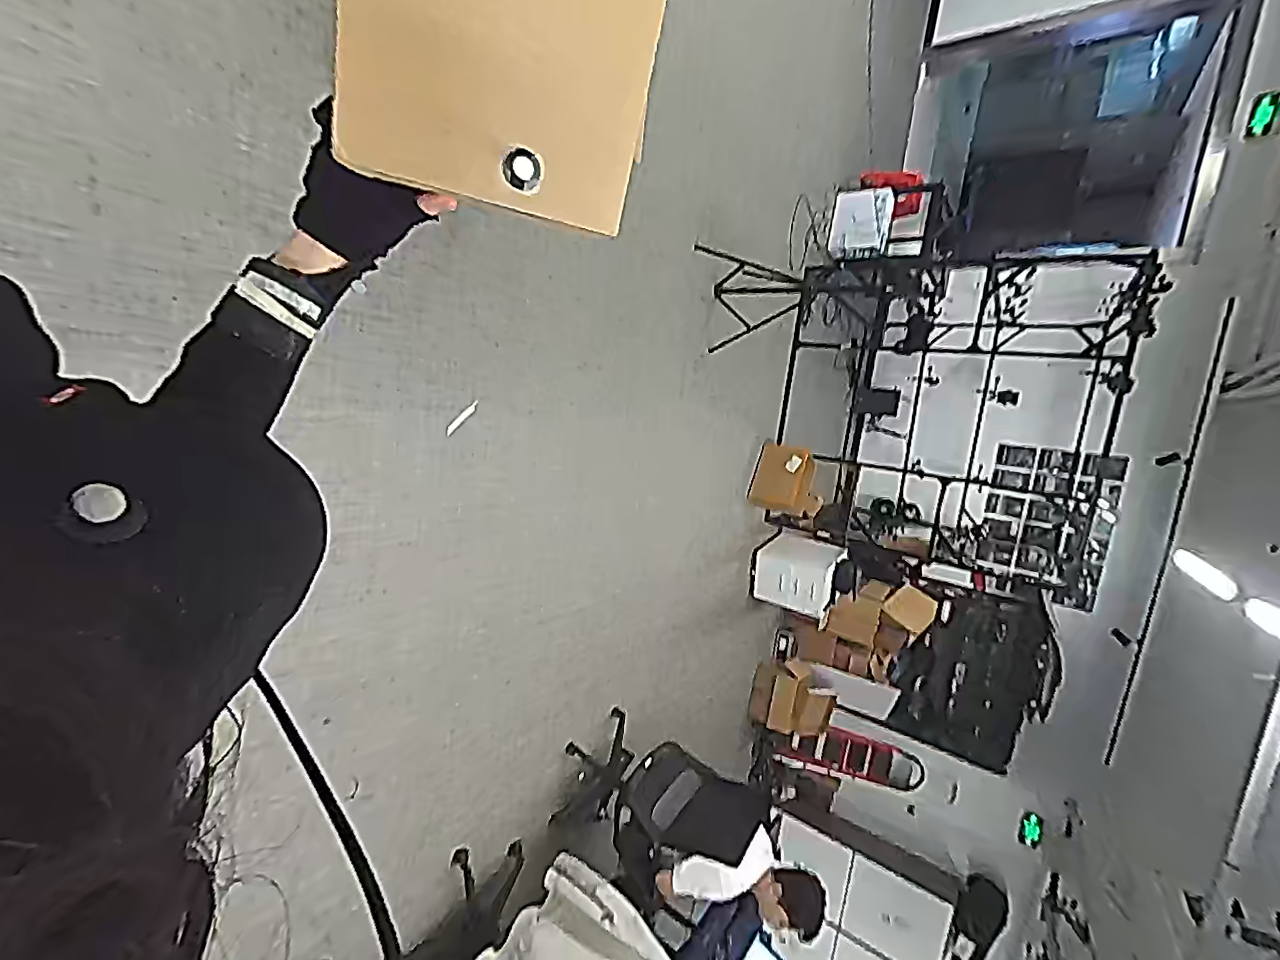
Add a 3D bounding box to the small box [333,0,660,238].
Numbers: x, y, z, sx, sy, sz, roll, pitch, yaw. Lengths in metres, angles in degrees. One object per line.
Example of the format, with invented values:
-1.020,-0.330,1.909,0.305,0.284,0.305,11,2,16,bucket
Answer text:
-0.092,-0.277,0.361,0.168,0.179,0.176,7,113,-20,small box
